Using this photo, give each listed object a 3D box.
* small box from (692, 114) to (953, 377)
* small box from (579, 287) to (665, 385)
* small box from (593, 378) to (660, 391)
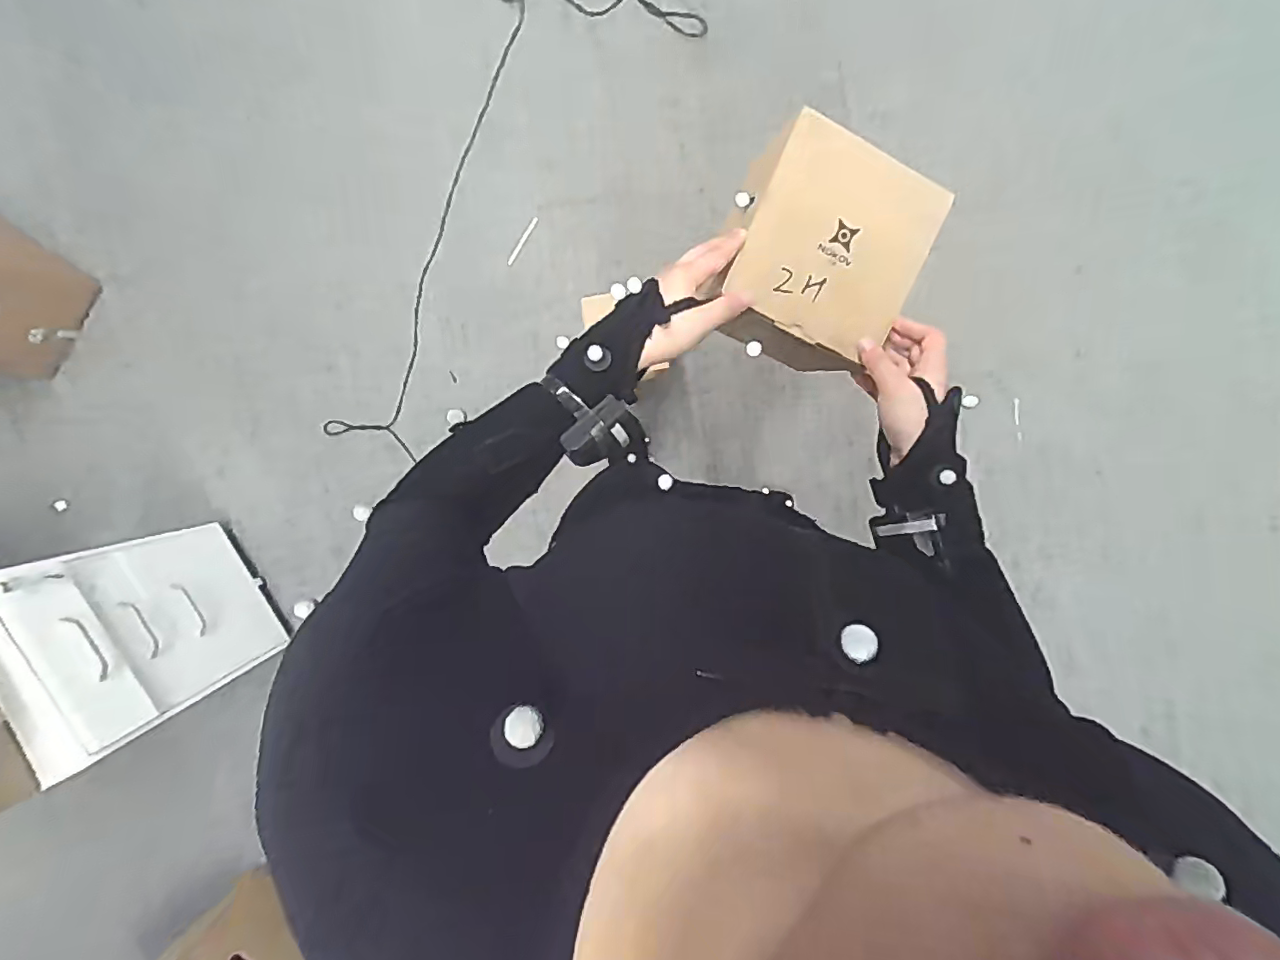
[{"bbox_3d":[0.171,-0.222,0.567,0.168,0.176,0.179,24,97,-10],"label":"small box"},{"bbox_3d":[-0.034,-0.311,1.205,0.168,0.176,0.179,-8,94,2],"label":"small box"},{"bbox_3d":[-0.040,-0.323,1.369,0.168,0.176,0.179,-8,94,3],"label":"small box"}]
